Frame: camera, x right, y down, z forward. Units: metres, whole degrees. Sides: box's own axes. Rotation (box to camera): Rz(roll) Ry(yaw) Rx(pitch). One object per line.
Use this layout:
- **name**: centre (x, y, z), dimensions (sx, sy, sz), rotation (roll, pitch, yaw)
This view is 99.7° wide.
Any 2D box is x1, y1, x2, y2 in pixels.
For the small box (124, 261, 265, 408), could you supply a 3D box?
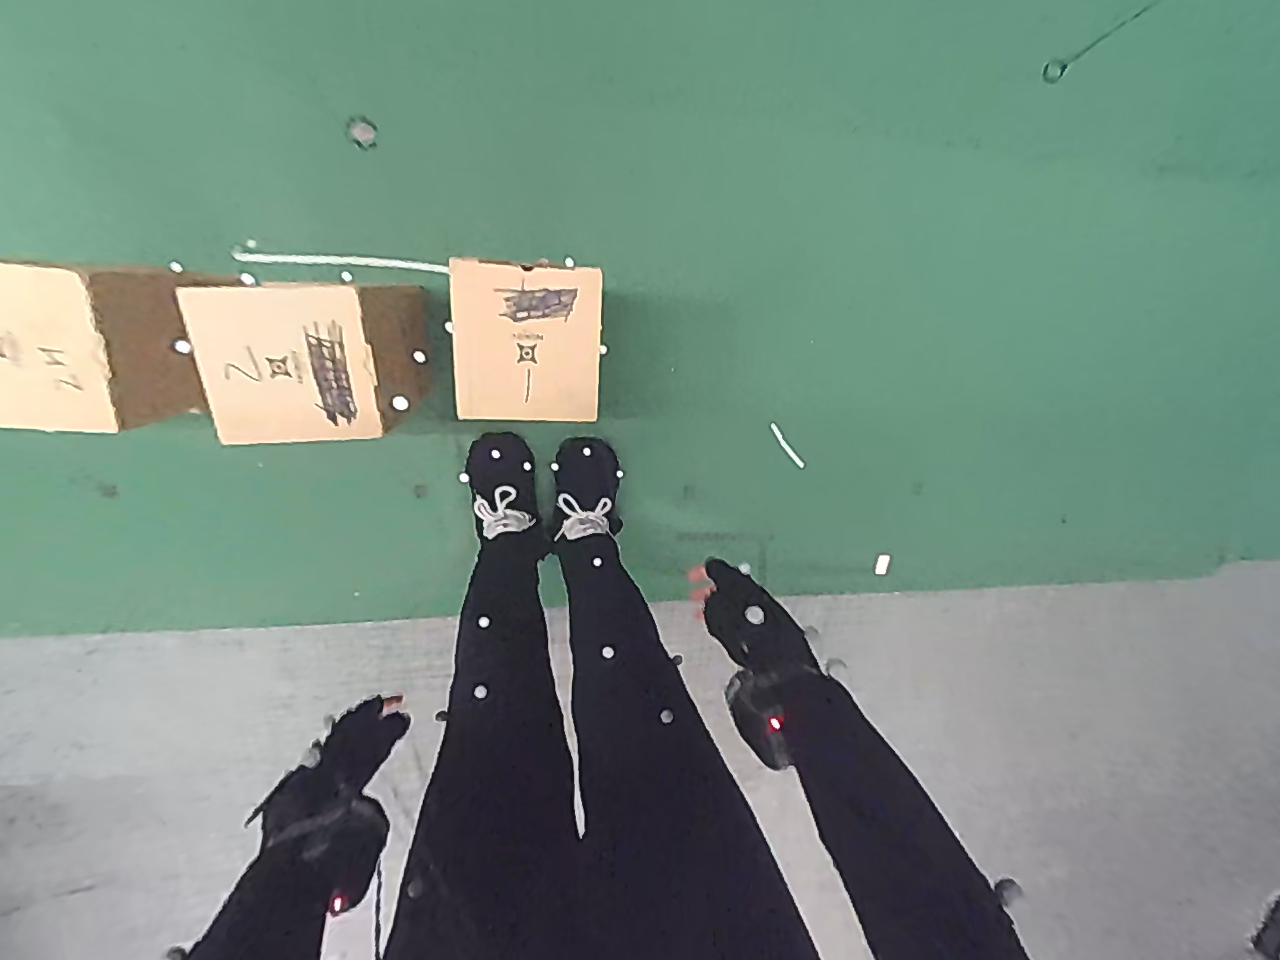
- **small box**: centre (-0.673, -0.213, 0.779), dimensions (0.168, 0.176, 0.179), rotation (4, 109, -10)

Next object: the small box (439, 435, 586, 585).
- **small box**: centre (-0.227, 0.049, 0.957), dimensions (0.179, 0.176, 0.168), rotation (35, 113, 0)

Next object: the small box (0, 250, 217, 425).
- **small box**: centre (-0.641, -0.168, 0.624), dimensions (0.179, 0.176, 0.168), rotation (3, 109, -9)

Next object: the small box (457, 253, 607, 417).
- **small box**: centre (-0.137, -0.186, 0.695), dimensions (0.168, 0.176, 0.179), rotation (1, 110, -9)
